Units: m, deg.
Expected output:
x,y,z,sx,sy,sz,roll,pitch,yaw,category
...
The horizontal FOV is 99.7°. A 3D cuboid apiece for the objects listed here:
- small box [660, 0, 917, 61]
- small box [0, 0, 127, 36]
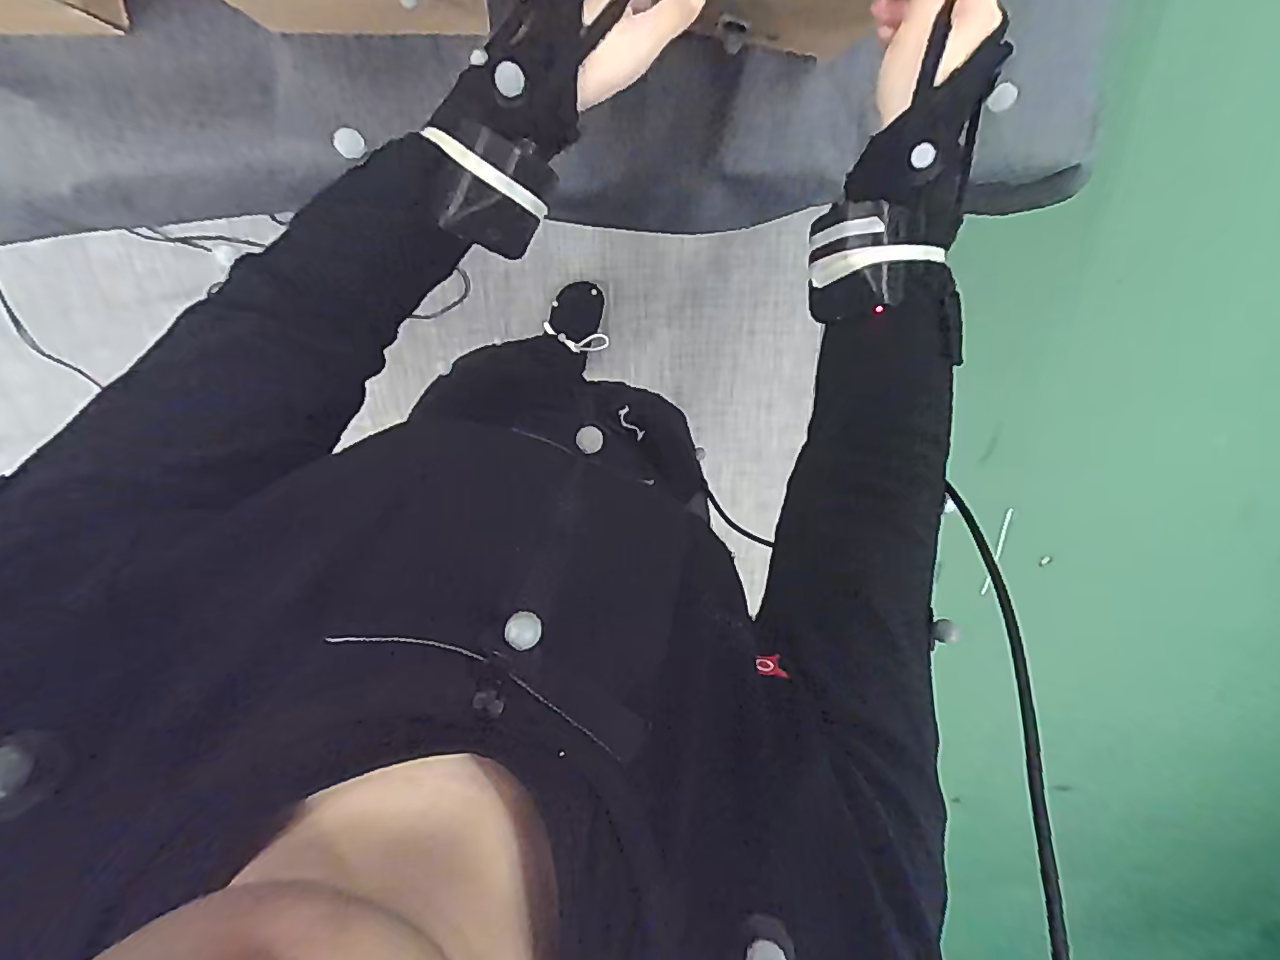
x,y,z,sx,sy,sz,roll,pitch,yaw,category
0.106,-0.416,0.356,0.168,0.176,0.179,6,115,-4,small box
-0.480,-0.388,0.317,0.179,0.176,0.168,-4,115,-5,small box
